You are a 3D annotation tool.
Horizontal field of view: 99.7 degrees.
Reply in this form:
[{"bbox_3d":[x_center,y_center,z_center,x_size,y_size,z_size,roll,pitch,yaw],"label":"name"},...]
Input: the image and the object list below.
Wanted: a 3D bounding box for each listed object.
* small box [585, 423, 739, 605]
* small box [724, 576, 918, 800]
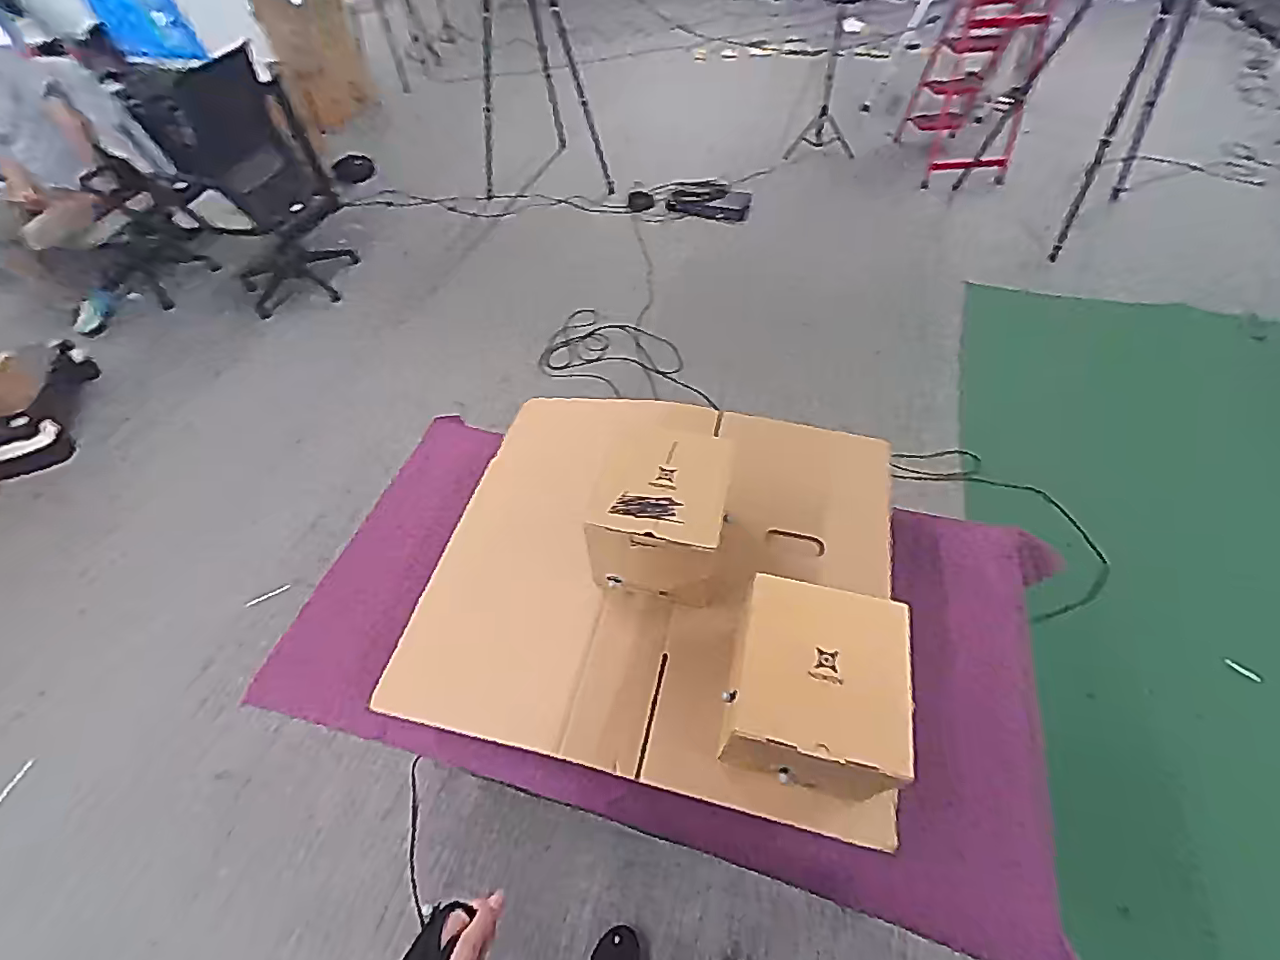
[{"bbox_3d":[0.034,0.051,0.747,0.168,0.176,0.179,11,54,9],"label":"small box"},{"bbox_3d":[0.193,0.237,0.610,0.168,0.176,0.179,11,56,9],"label":"small box"}]
